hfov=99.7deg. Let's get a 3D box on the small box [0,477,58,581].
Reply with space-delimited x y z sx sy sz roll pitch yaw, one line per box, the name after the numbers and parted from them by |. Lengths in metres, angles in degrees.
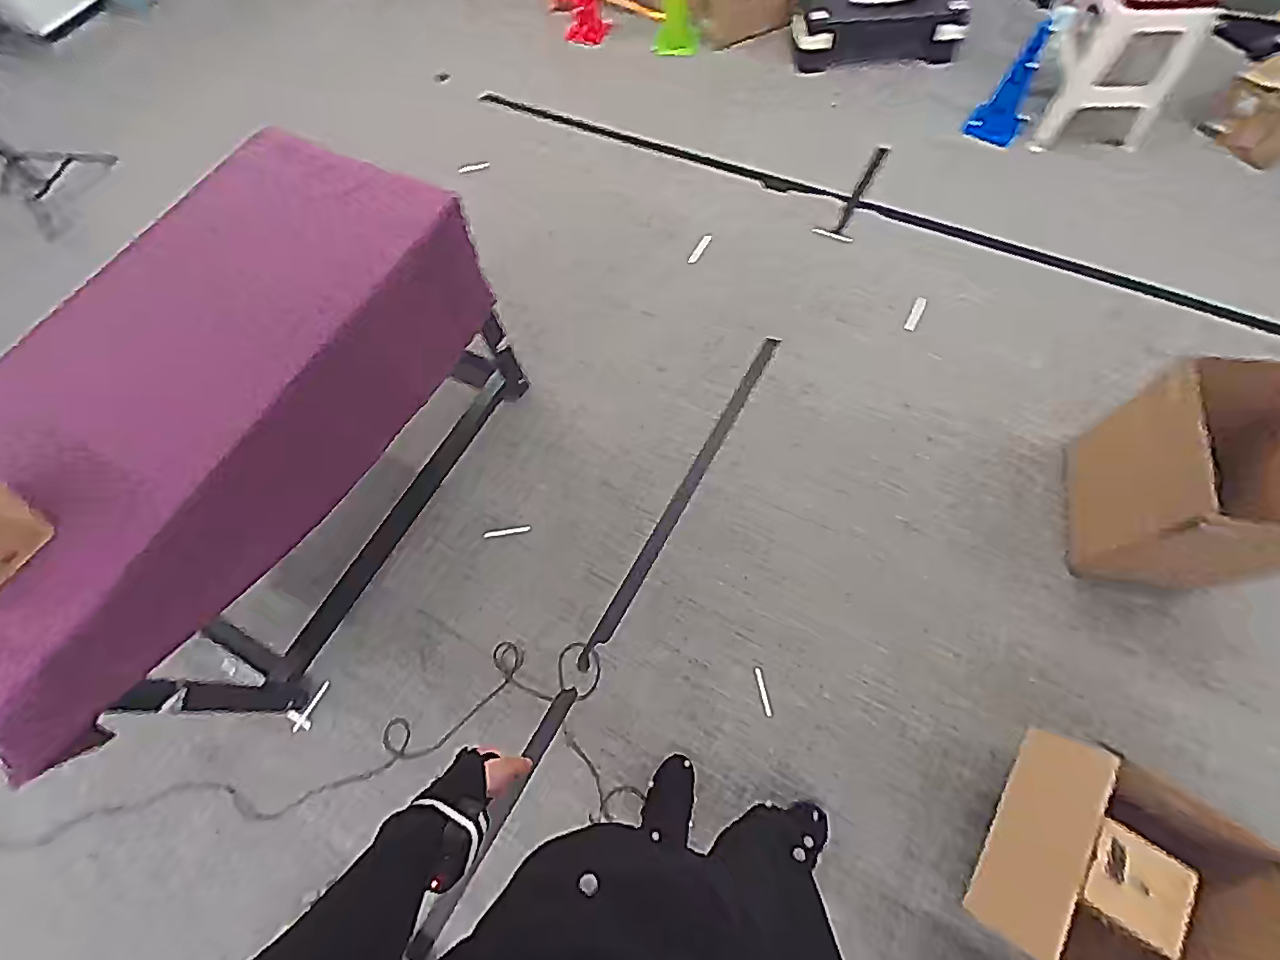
-1.108 0.070 0.856 0.179 0.176 0.168 31 71 17 | small box
